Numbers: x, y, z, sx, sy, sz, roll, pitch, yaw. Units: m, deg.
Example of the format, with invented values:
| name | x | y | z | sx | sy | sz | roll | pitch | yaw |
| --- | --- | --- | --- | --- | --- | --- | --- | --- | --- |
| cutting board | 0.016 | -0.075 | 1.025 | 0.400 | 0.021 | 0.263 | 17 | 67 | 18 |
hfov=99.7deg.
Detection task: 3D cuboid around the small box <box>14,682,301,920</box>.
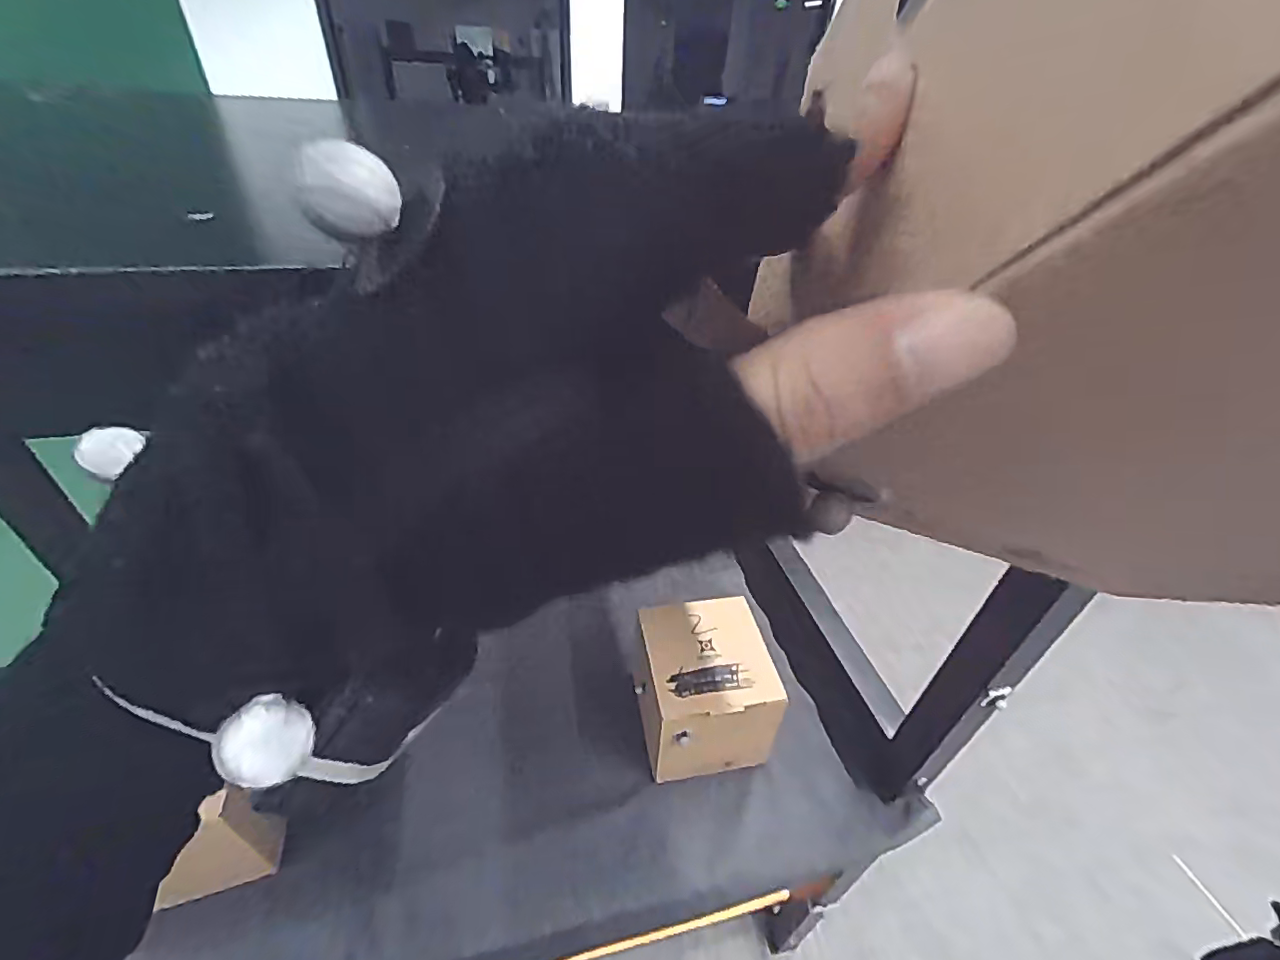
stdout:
| name | x | y | z | sx | sy | sz | roll | pitch | yaw |
| --- | --- | --- | --- | --- | --- | --- | --- | --- | --- |
| small box | -0.535 | 0.375 | 0.637 | 0.179 | 0.176 | 0.168 | -9 | 39 | -16 |
